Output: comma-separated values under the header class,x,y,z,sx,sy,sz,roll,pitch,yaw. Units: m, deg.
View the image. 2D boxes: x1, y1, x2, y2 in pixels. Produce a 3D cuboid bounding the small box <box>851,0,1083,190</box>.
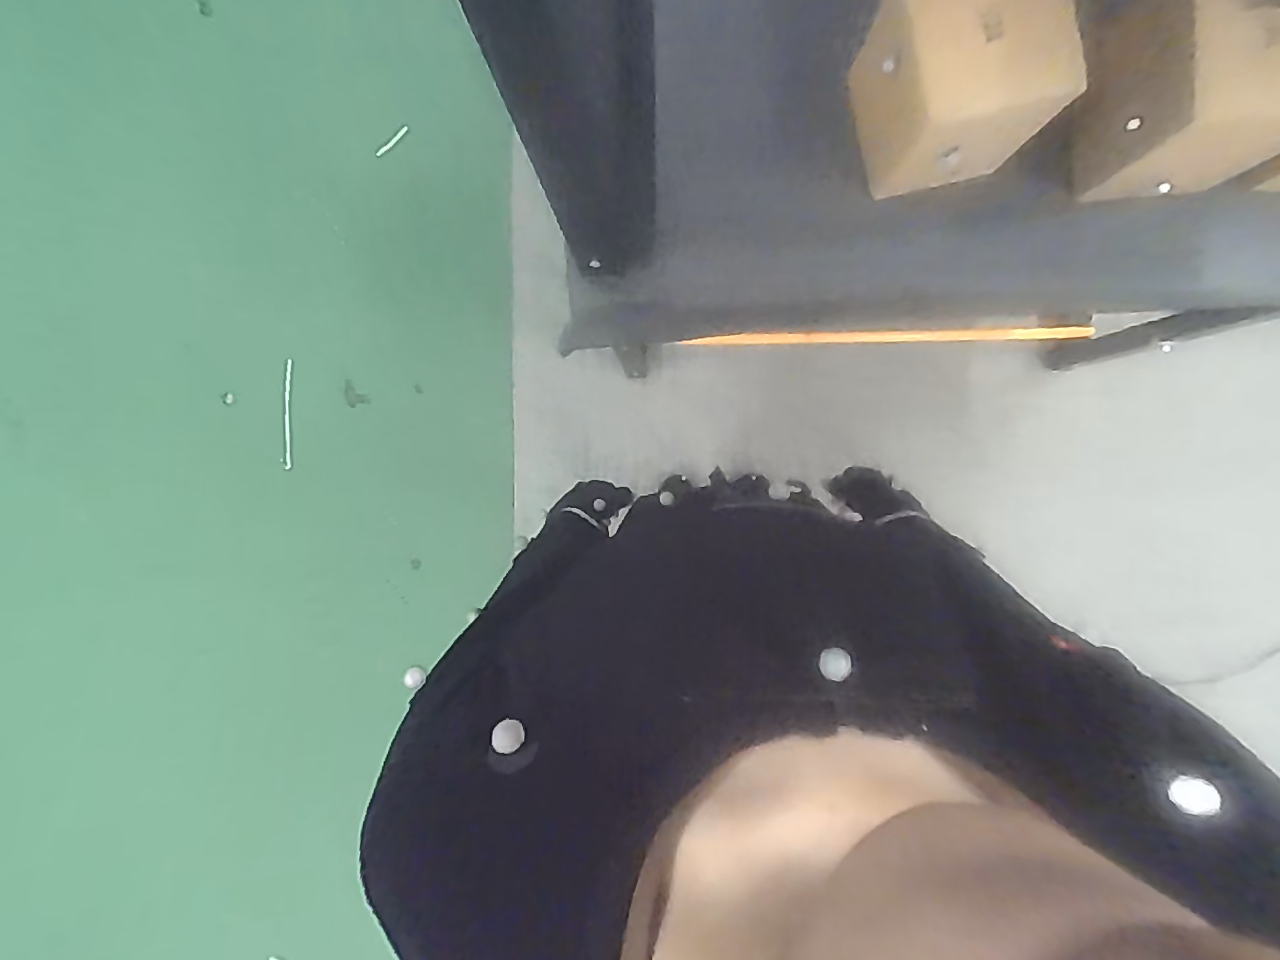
class,x,y,z,sx,sy,sz,roll,pitch,yaw
small box,0.375,-0.479,0.652,0.168,0.176,0.179,-12,90,3
